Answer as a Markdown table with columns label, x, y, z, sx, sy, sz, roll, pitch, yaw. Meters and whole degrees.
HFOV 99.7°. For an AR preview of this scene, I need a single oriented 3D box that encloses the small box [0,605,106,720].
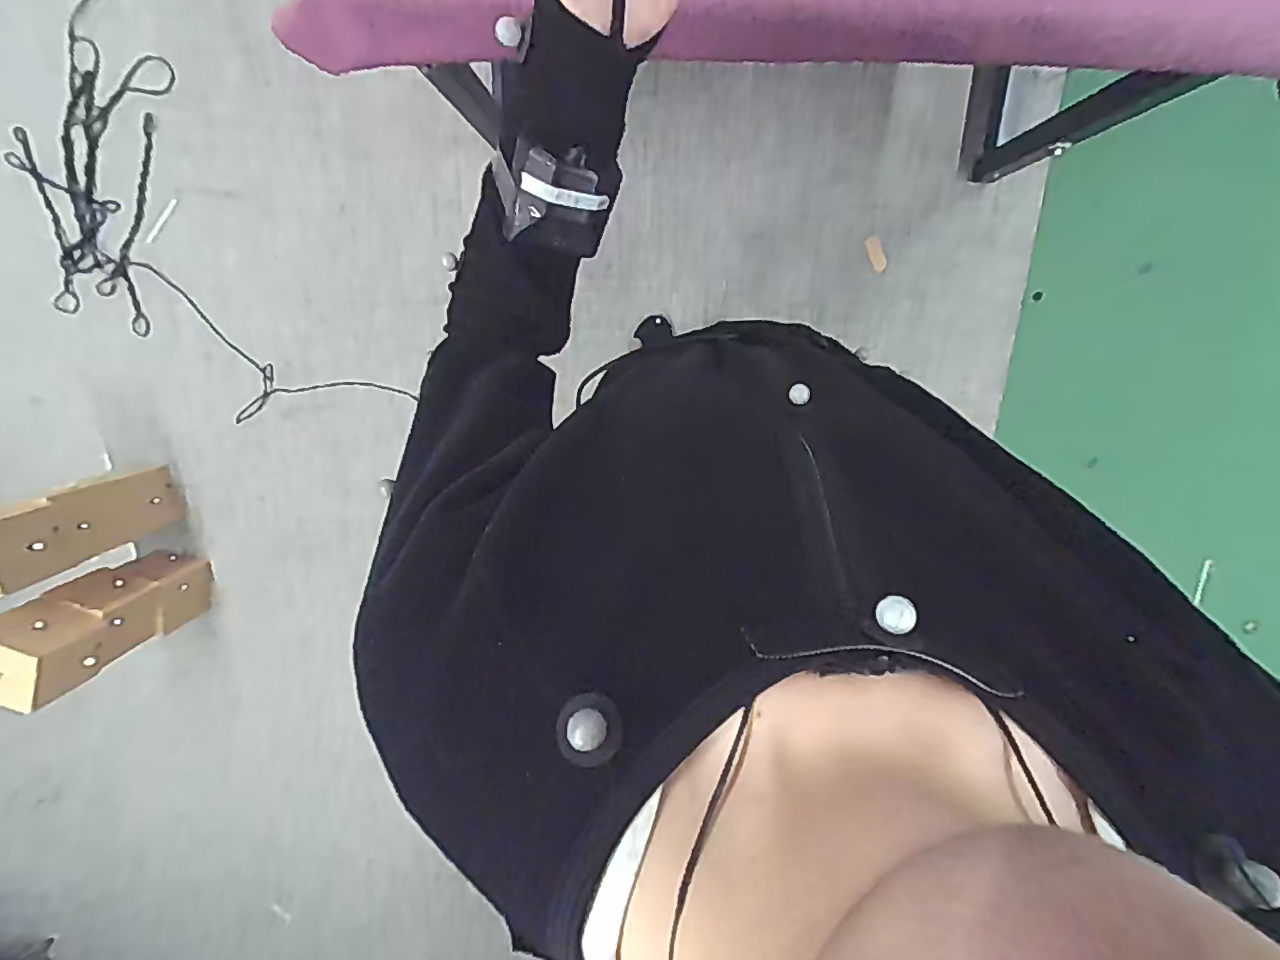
| label | x | y | z | sx | sy | sz | roll | pitch | yaw |
| --- | --- | --- | --- | --- | --- | --- | --- | --- | --- |
| small box | -1.435 | 0.419 | 1.273 | 0.179 | 0.176 | 0.168 | 23 | 104 | -4 |

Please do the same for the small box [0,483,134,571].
| label | x | y | z | sx | sy | sz | roll | pitch | yaw |
| --- | --- | --- | --- | --- | --- | --- | --- | --- | --- |
| small box | -1.448 | 0.122 | 1.362 | 0.168 | 0.176 | 0.179 | -10 | 105 | 4 |

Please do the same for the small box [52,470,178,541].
| label | x | y | z | sx | sy | sz | roll | pitch | yaw |
| --- | --- | --- | --- | --- | --- | --- | --- | --- | --- |
| small box | -1.454 | 0.073 | 1.517 | 0.179 | 0.176 | 0.168 | -5 | 105 | 4 |

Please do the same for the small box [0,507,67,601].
| label | x | y | z | sx | sy | sz | roll | pitch | yaw |
| --- | --- | --- | --- | --- | --- | --- | --- | --- | --- |
| small box | -1.448 | 0.162 | 1.203 | 0.179 | 0.176 | 0.168 | -2 | 105 | 1 |

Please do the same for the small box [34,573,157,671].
| label | x | y | z | sx | sy | sz | roll | pitch | yaw |
| --- | --- | --- | --- | --- | --- | --- | --- | --- | --- |
| small box | -1.436 | 0.375 | 1.431 | 0.168 | 0.176 | 0.179 | 19 | 104 | -2 |
